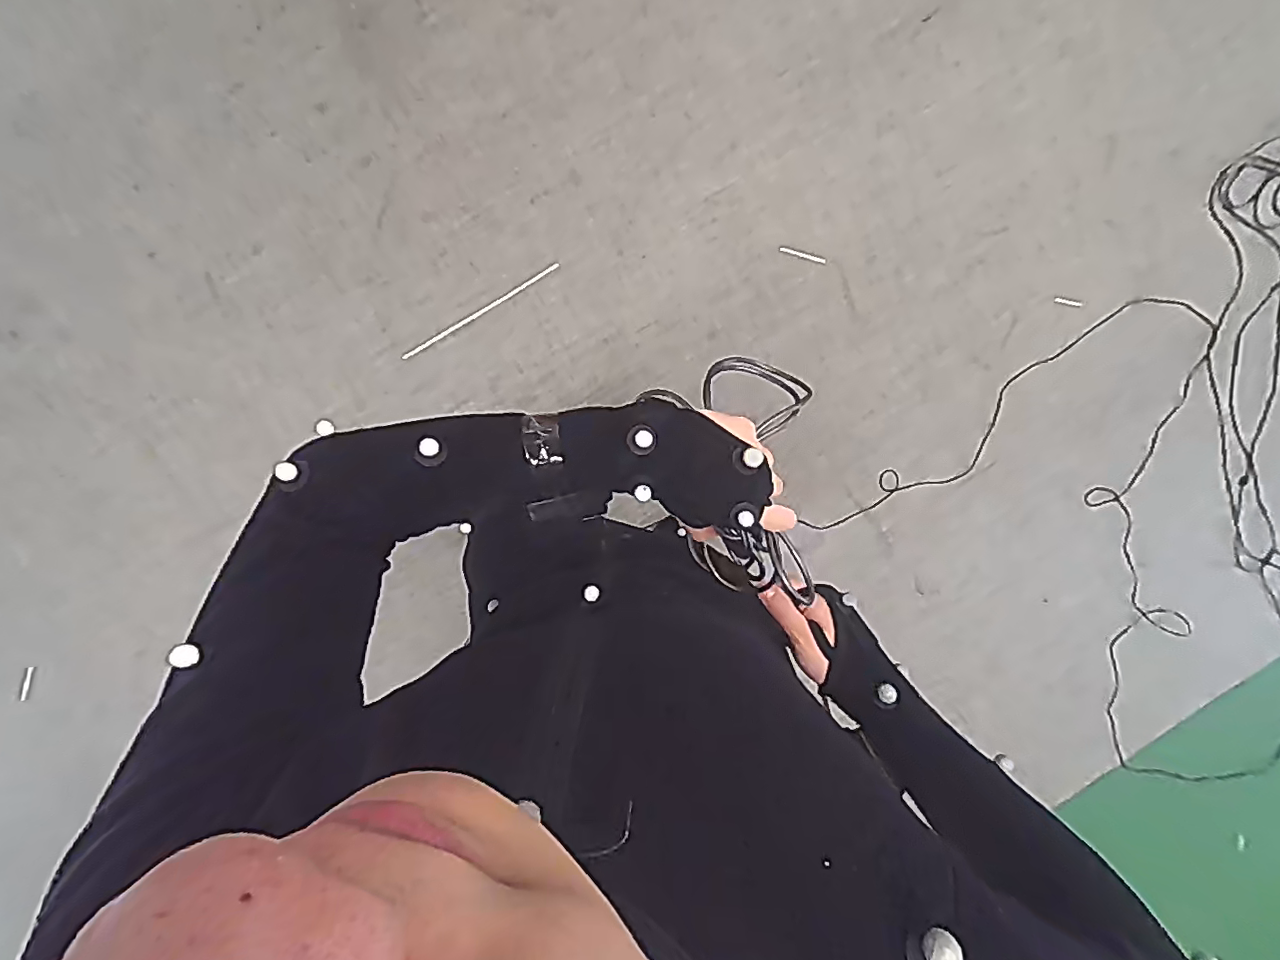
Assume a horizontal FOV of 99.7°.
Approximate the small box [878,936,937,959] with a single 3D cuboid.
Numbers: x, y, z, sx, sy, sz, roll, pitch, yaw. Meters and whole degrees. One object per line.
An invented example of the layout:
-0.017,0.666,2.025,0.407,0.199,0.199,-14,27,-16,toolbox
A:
0.878,1.577,1.679,0.168,0.176,0.179,-36,102,-1,small box
